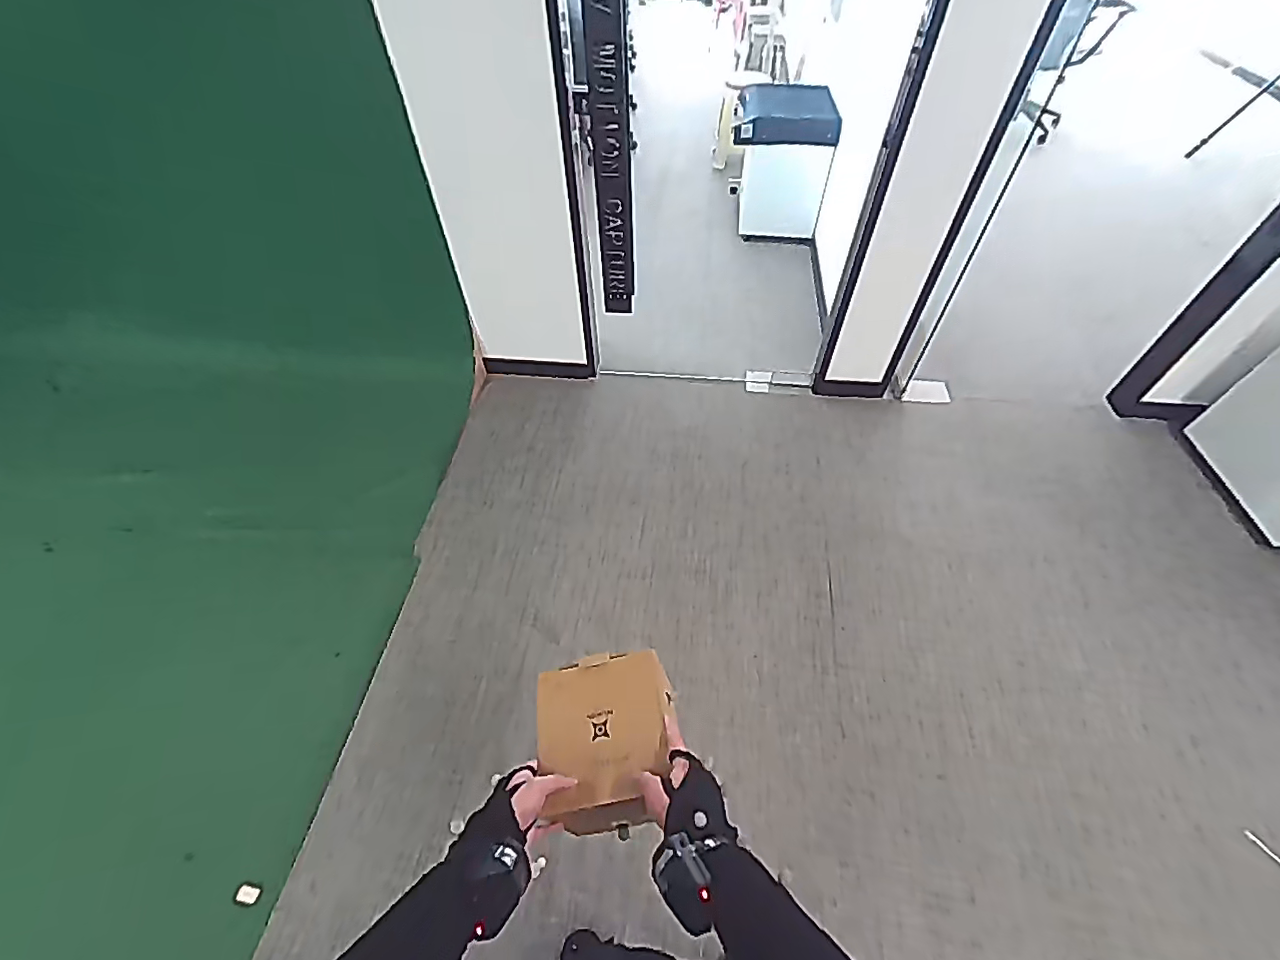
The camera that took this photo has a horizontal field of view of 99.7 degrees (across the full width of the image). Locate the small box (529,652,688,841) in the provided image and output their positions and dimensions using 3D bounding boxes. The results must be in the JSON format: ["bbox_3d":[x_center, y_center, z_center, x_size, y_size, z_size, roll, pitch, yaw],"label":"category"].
[{"bbox_3d":[-0.038,0.359,0.724,0.168,0.176,0.179,-13,48,6],"label":"small box"}]
